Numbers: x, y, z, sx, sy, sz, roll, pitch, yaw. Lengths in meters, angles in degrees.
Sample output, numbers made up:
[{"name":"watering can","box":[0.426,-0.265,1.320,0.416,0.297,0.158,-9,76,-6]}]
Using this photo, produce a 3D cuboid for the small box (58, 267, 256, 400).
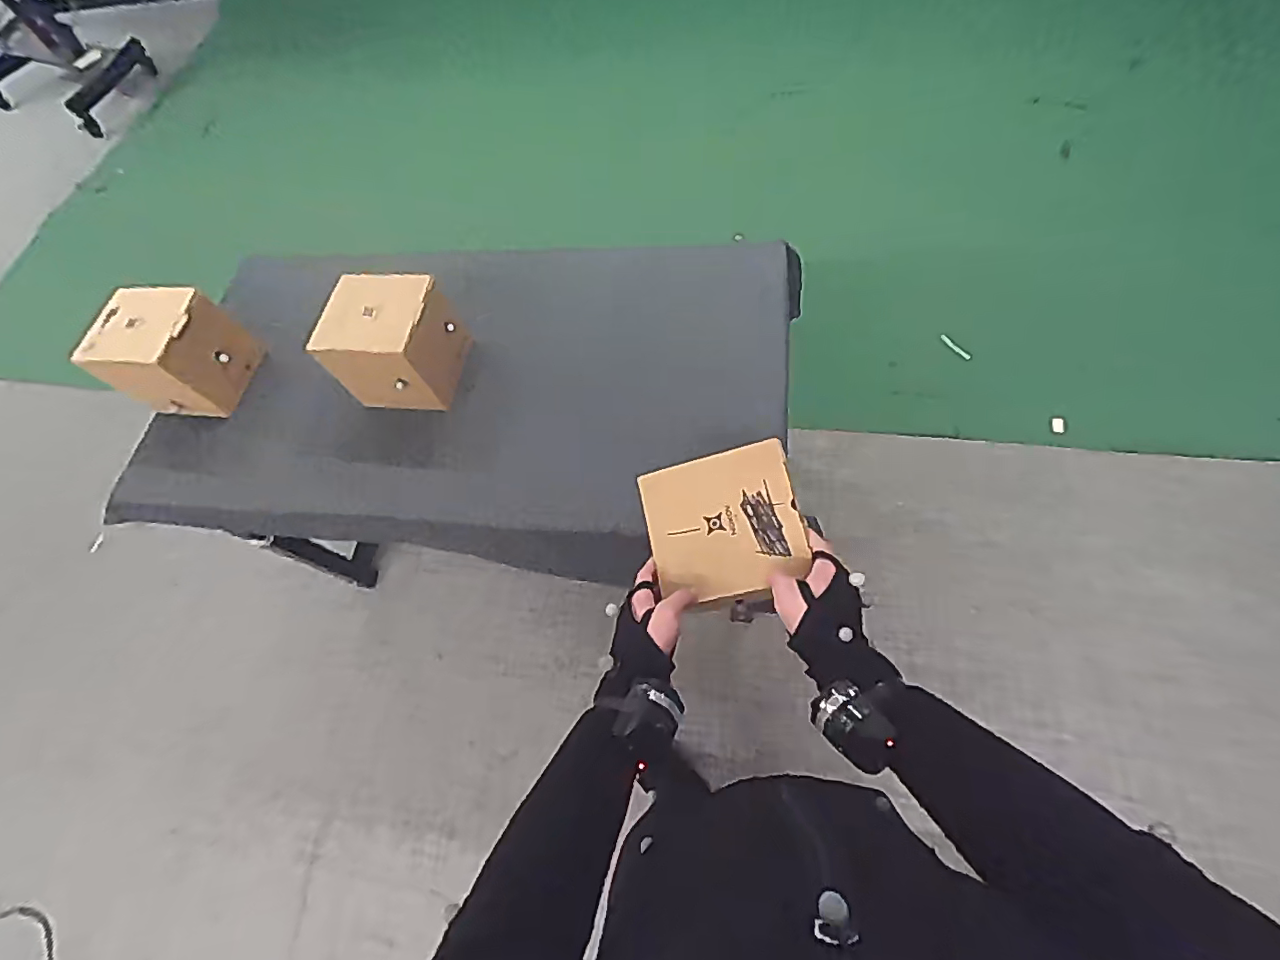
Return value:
[{"name":"small box","box":[-0.860,-0.261,0.987,0.179,0.176,0.168,5,64,7]}]

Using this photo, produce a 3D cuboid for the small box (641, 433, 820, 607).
[{"name":"small box","box":[0.113,0.061,0.681,0.179,0.176,0.168,-13,71,11]}]

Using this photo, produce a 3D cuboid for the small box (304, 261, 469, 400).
[{"name":"small box","box":[-0.423,-0.254,0.939,0.179,0.176,0.168,4,63,10]}]
